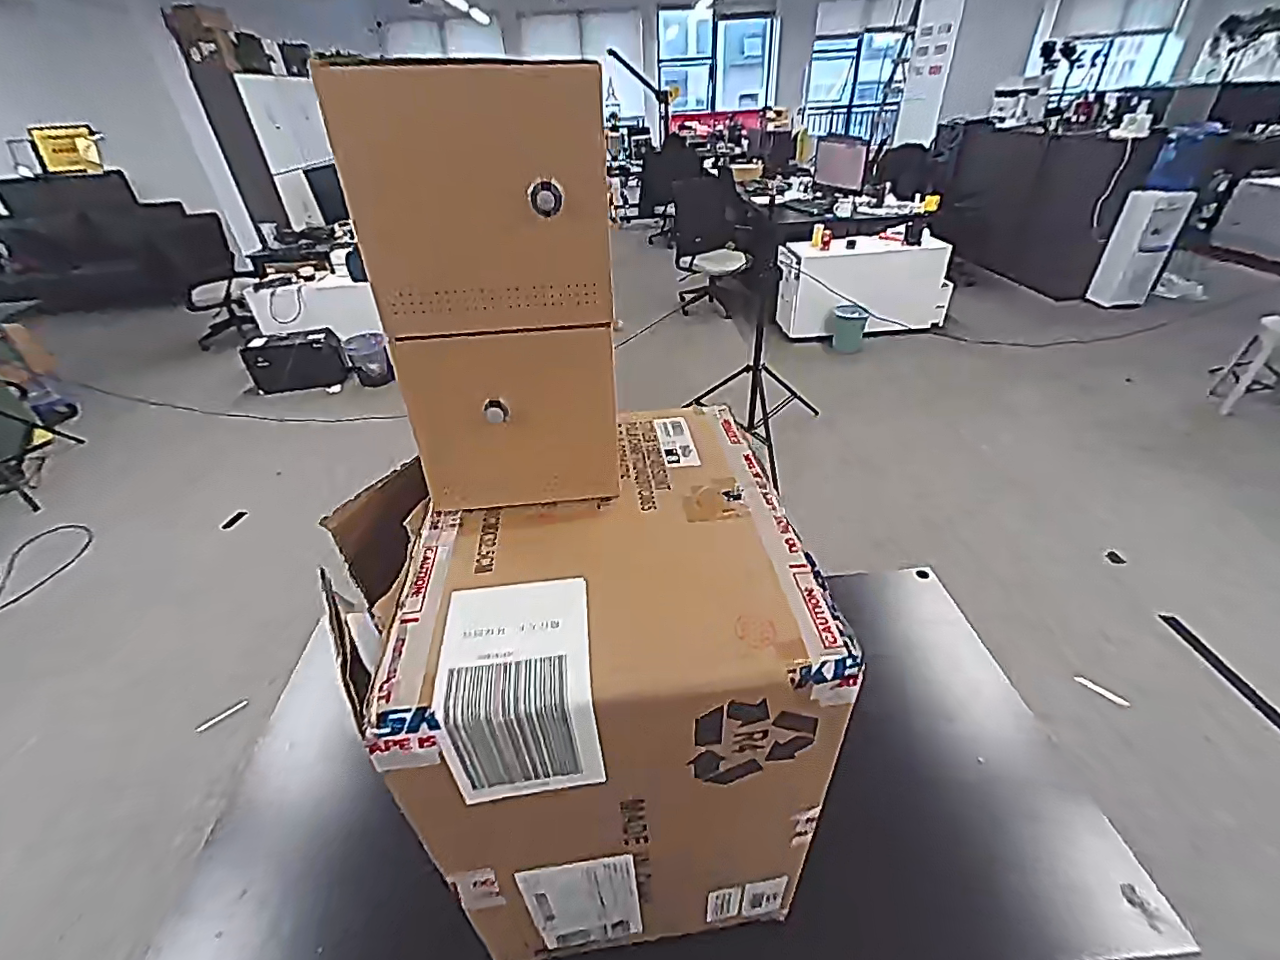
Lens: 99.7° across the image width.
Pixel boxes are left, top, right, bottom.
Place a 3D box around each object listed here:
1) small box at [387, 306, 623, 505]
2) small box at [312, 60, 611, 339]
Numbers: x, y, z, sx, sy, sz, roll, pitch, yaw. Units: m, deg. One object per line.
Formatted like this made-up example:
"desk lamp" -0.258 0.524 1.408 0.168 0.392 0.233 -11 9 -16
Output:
"small box" -0.115 -0.089 0.529 0.179 0.176 0.168 -6 33 -5
"small box" -0.118 -0.223 0.436 0.179 0.176 0.168 -7 32 -7
